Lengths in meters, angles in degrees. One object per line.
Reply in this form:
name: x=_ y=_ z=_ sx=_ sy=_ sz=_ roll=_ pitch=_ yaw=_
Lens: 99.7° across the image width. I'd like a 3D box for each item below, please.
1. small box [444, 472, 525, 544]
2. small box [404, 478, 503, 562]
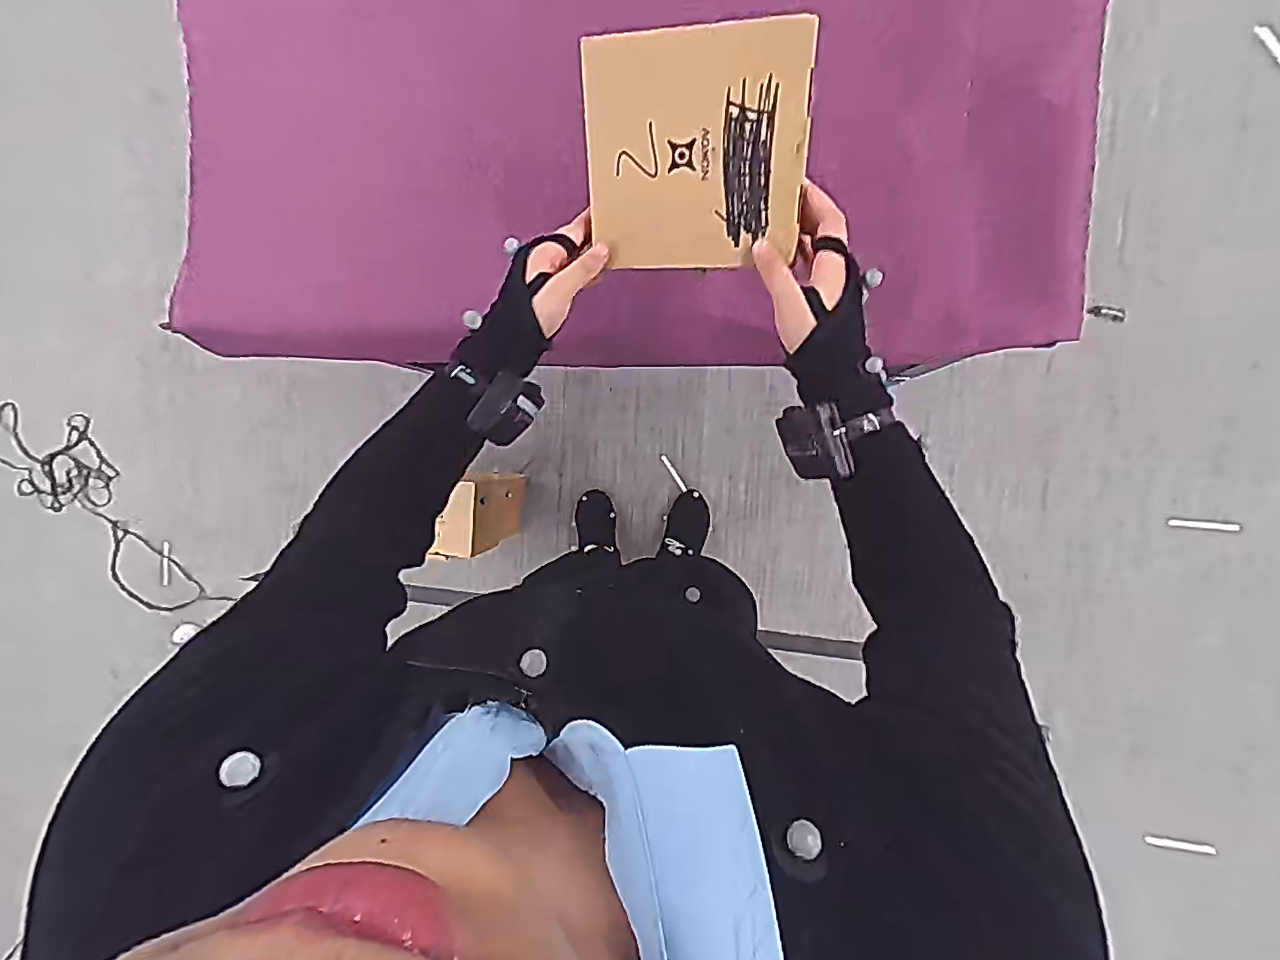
small box: x=-0.424 y=0.078 z=1.461 sx=0.168 sy=0.176 sz=0.179 roll=10 pitch=94 yaw=7
small box: x=-0.439 y=0.089 z=1.297 sx=0.168 sy=0.176 sz=0.179 roll=5 pitch=94 yaw=8
